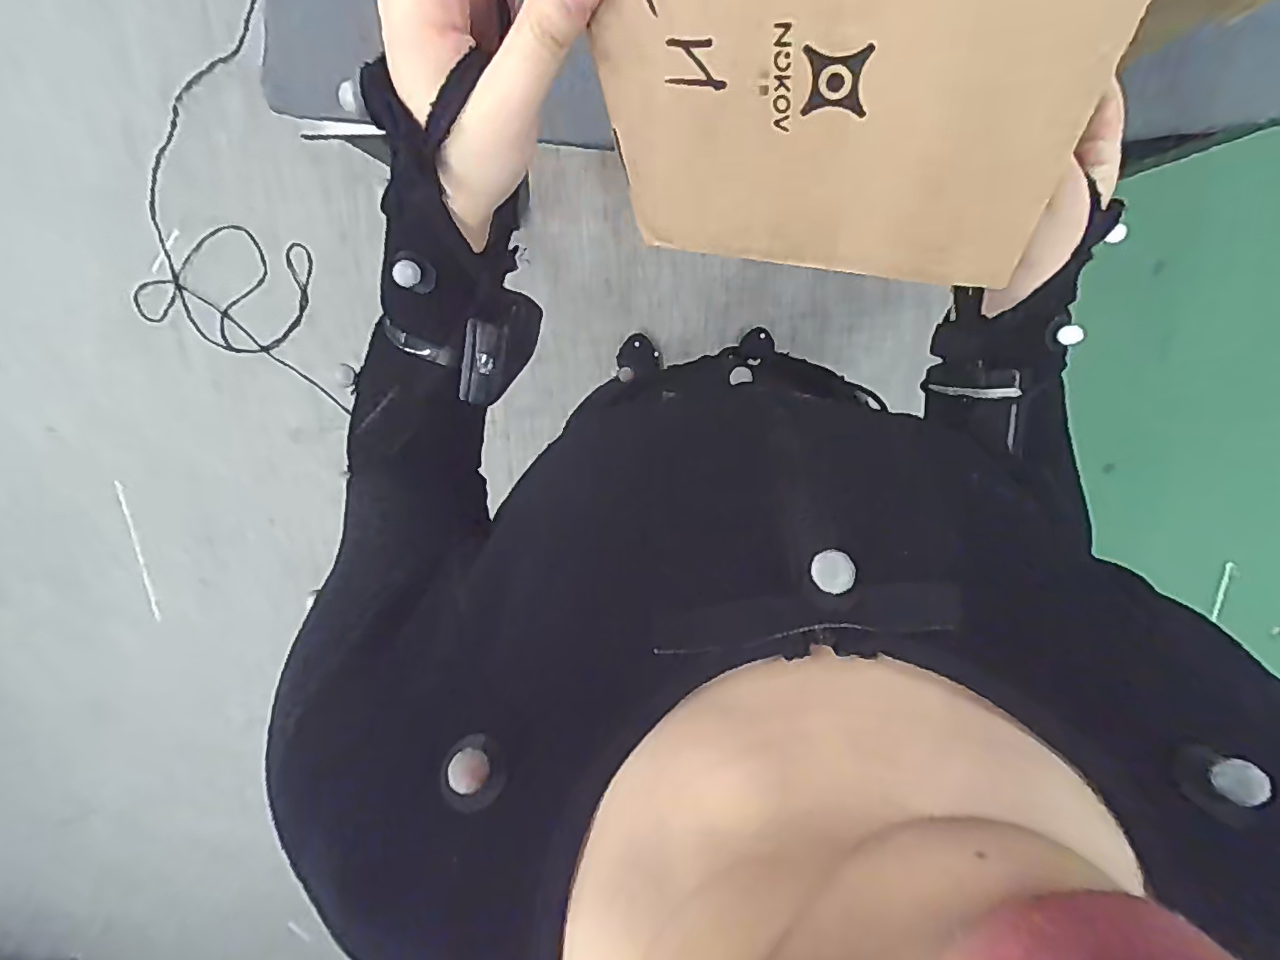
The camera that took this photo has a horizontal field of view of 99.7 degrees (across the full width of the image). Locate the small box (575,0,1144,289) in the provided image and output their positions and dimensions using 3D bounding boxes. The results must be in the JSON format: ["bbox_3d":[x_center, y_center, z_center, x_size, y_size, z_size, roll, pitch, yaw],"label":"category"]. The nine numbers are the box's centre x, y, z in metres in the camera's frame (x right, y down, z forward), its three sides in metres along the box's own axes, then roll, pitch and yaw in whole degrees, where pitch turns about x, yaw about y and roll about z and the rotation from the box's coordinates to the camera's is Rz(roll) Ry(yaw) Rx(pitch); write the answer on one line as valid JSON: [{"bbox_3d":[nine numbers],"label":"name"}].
[{"bbox_3d":[0.090,-0.209,0.217,0.179,0.168,0.176,18,69,21],"label":"small box"}]
